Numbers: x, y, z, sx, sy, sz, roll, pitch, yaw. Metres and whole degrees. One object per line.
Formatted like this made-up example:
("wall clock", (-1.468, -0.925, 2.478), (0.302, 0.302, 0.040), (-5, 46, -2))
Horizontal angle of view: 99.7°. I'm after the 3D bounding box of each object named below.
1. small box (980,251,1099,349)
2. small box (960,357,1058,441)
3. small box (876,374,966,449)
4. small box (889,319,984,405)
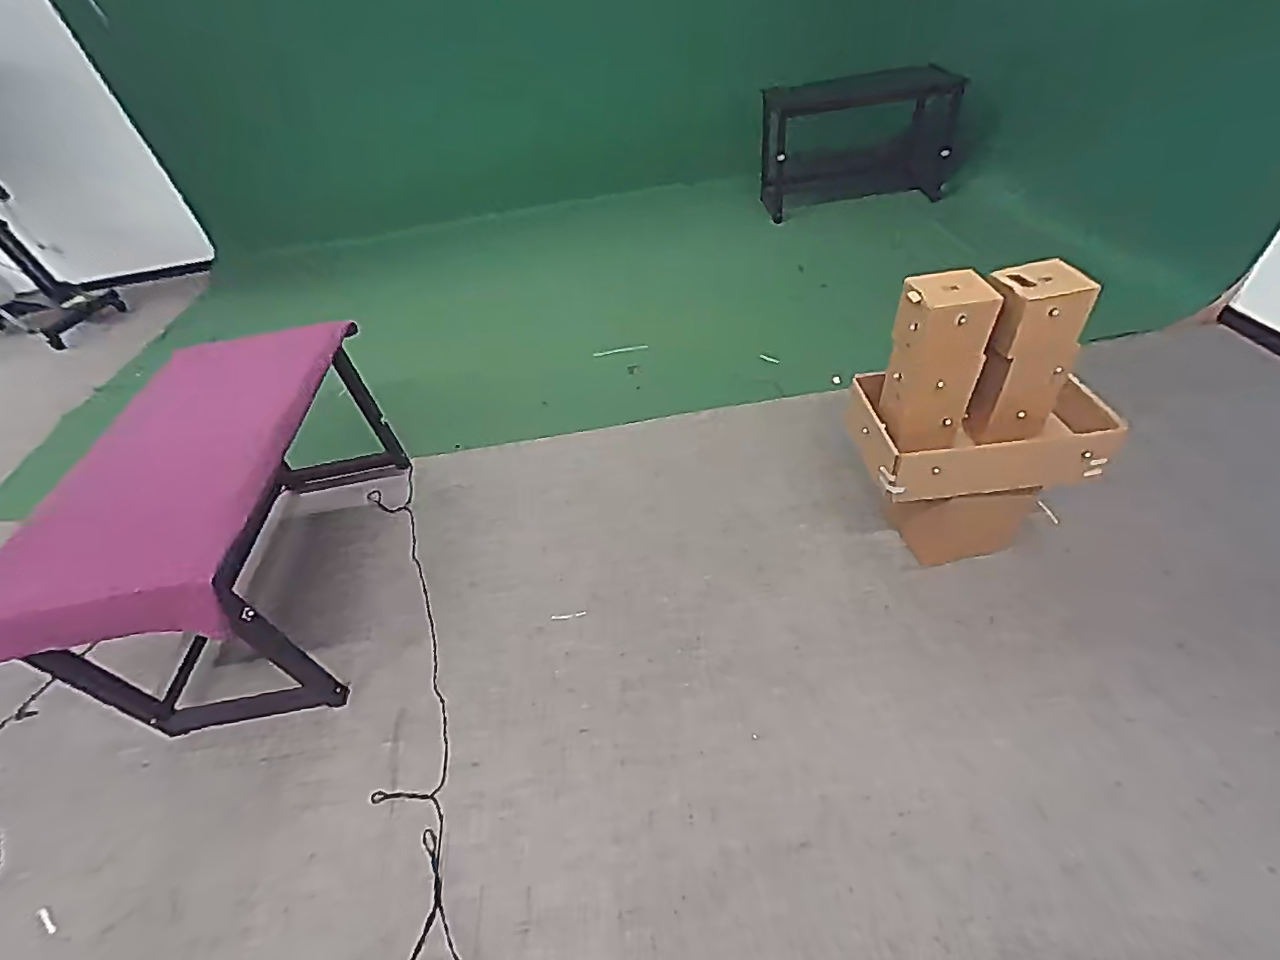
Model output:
("small box", (1.012, -0.460, 1.395), (0.179, 0.176, 0.168), (-12, 45, 3))
("small box", (1.094, -0.242, 1.628), (0.179, 0.176, 0.168), (-11, 45, 5))
("small box", (0.842, -0.214, 1.640), (0.179, 0.176, 0.168), (-6, 45, 3))
("small box", (0.821, -0.327, 1.525), (0.179, 0.176, 0.168), (-7, 46, 4))
